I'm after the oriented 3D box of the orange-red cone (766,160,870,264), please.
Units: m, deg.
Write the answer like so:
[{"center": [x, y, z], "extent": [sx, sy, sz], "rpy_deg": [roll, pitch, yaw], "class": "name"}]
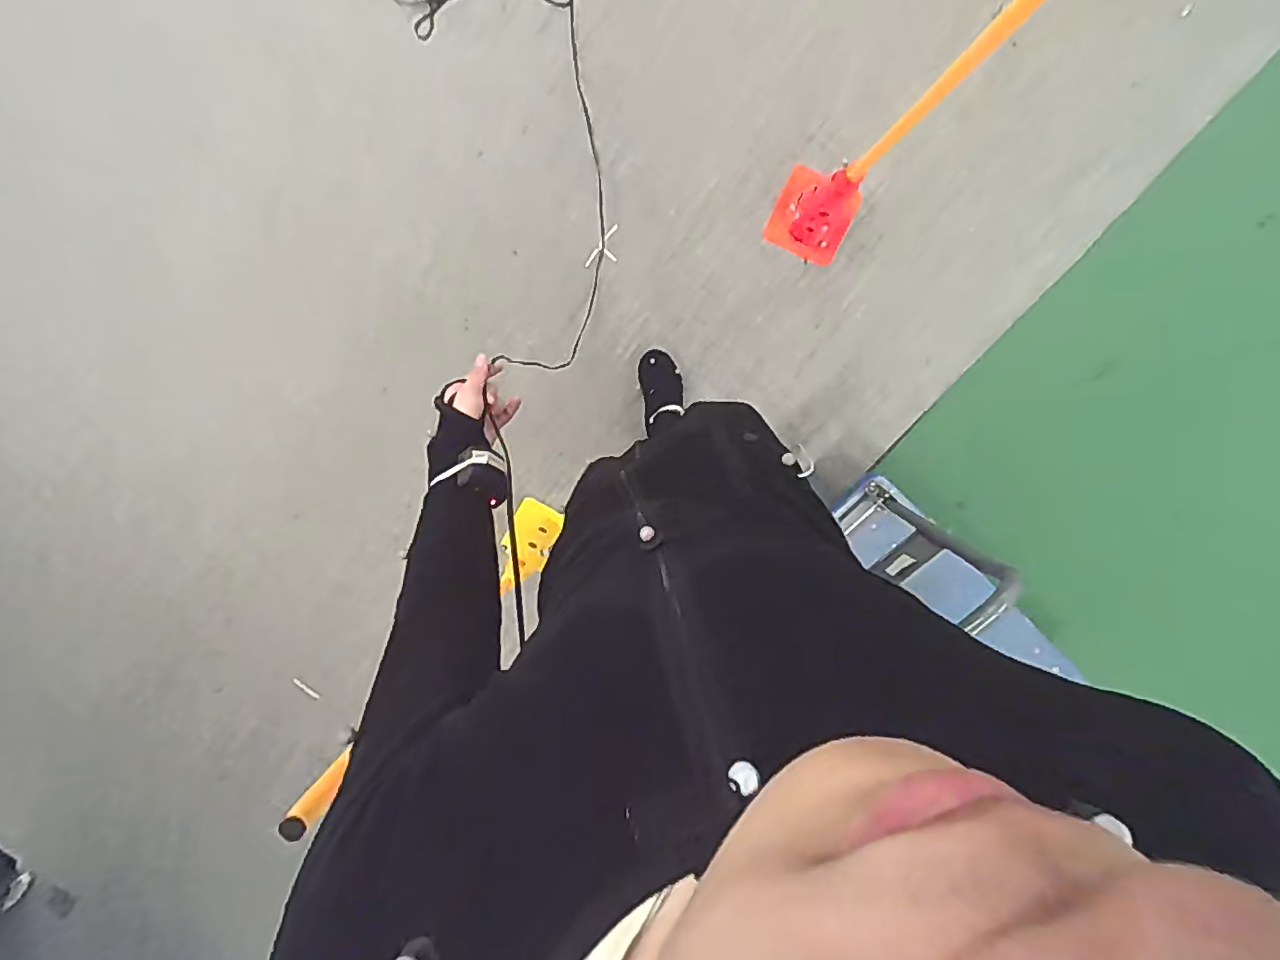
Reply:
[{"center": [0.448, -0.662, 1.254], "extent": [0.198, 0.360, 0.199], "rpy_deg": [25, 101, -4], "class": "orange-red cone"}]
